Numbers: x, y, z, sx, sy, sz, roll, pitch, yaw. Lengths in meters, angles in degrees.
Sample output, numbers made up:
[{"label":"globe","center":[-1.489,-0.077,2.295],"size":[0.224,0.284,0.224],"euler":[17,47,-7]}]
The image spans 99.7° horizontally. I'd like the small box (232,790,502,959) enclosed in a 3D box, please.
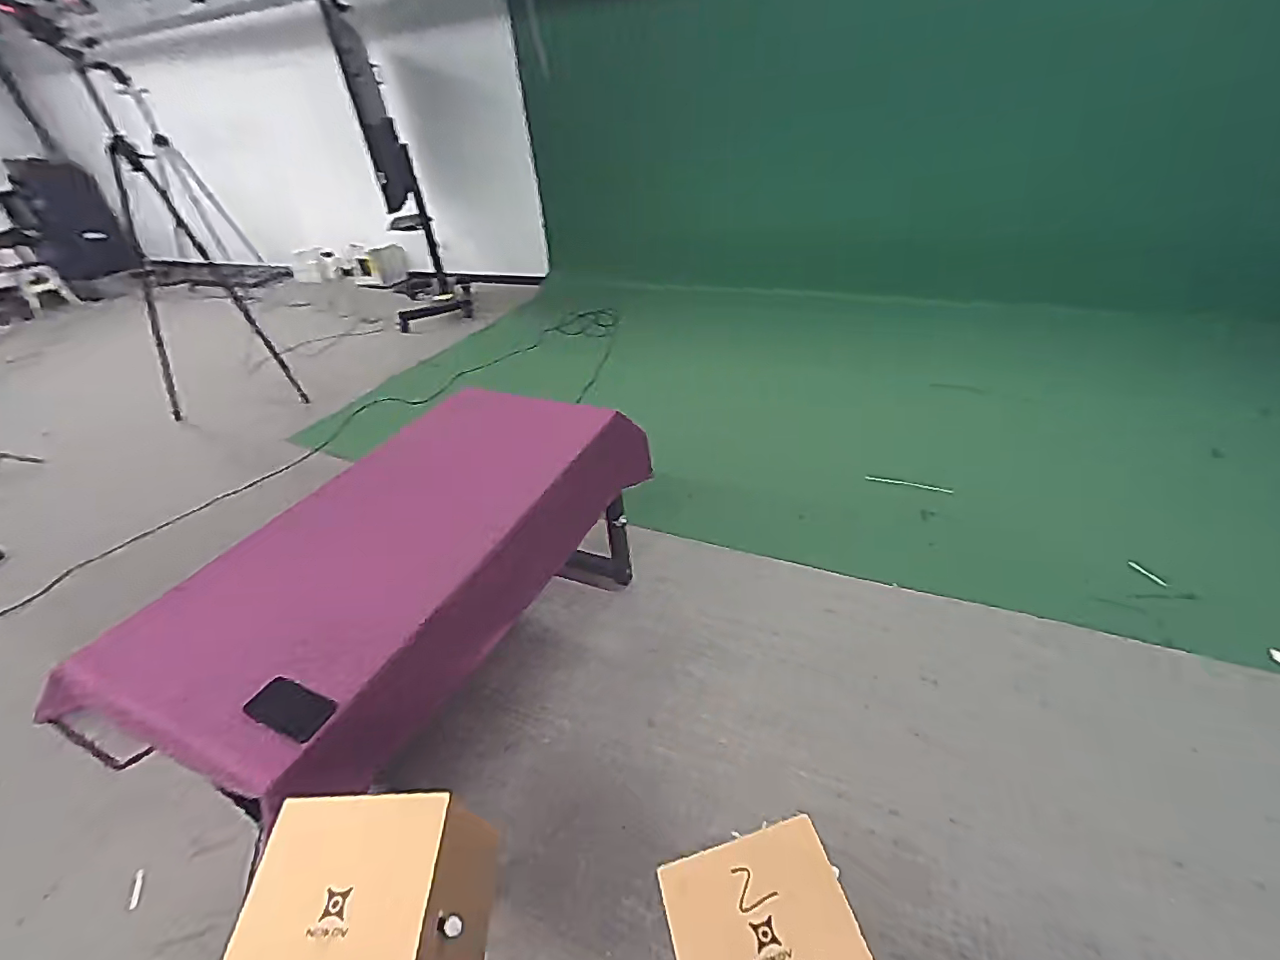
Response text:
[{"label":"small box","center":[-0.244,0.419,0.521],"size":[0.168,0.176,0.179],"euler":[-4,47,5]}]
